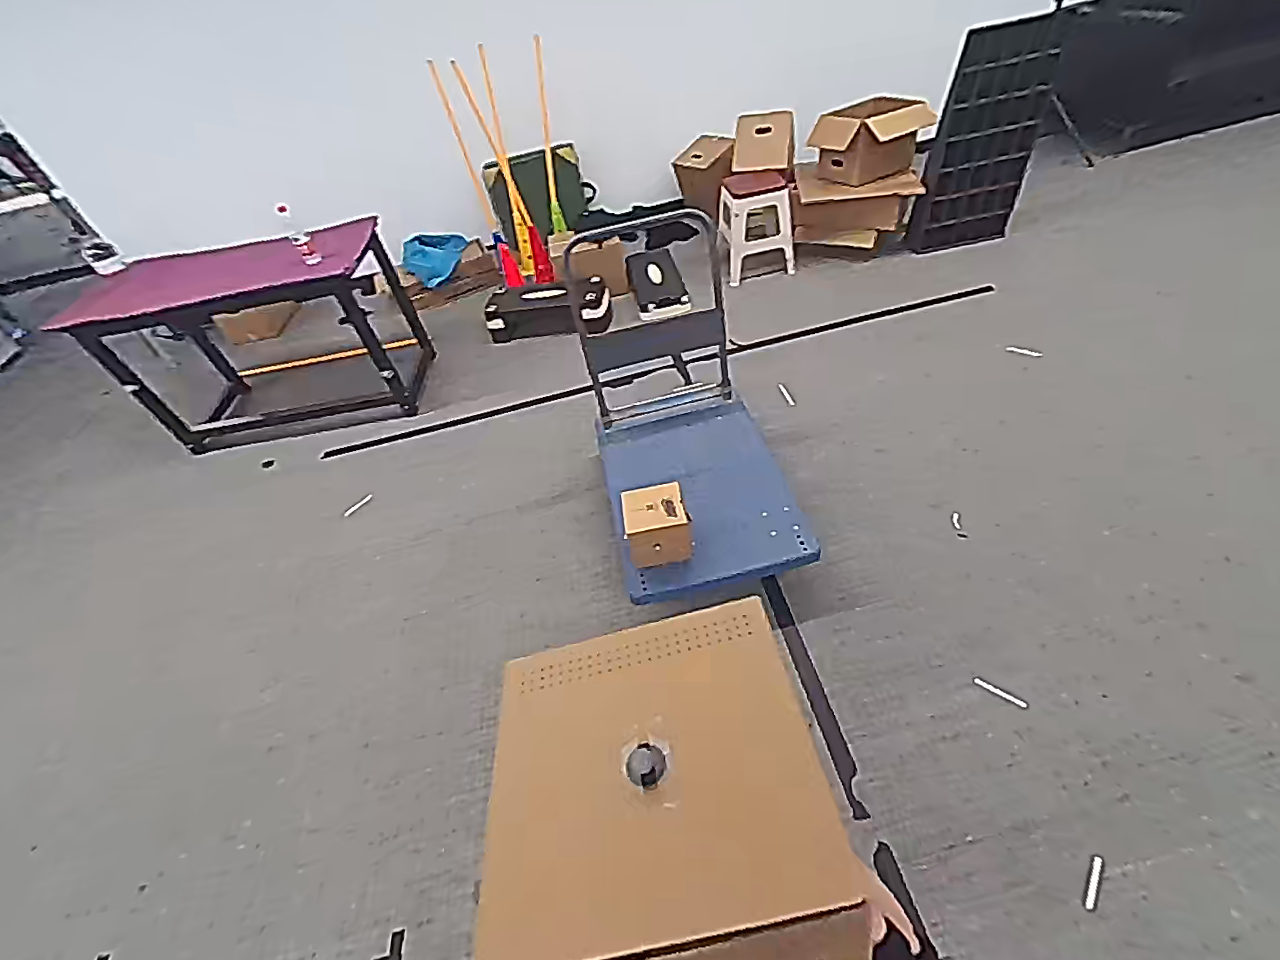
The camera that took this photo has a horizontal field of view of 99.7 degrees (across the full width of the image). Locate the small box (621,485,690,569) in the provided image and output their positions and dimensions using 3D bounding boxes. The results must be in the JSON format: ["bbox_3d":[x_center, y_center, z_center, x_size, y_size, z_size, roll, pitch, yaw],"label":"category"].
[{"bbox_3d":[0.049,0.142,1.599,0.179,0.176,0.168,-11,44,3],"label":"small box"}]
